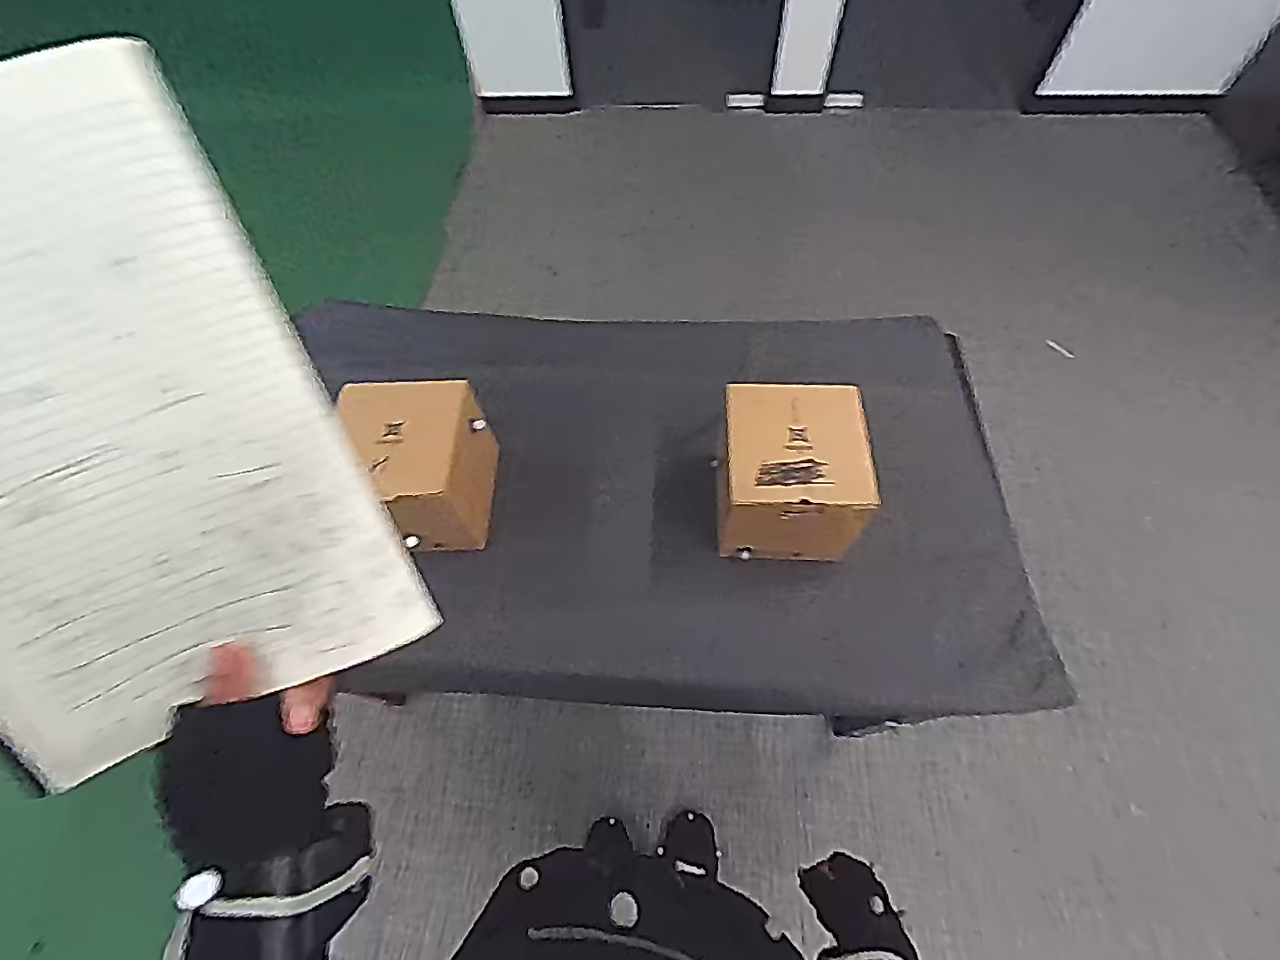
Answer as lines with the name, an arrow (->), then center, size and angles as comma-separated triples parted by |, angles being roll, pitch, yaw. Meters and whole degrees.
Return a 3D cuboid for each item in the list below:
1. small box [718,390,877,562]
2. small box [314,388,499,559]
small box -> 0.195, 0.000, 0.721 | 0.168, 0.176, 0.179 | 1, 59, 3
small box -> -0.301, -0.005, 0.744 | 0.168, 0.176, 0.179 | -2, 60, 2
